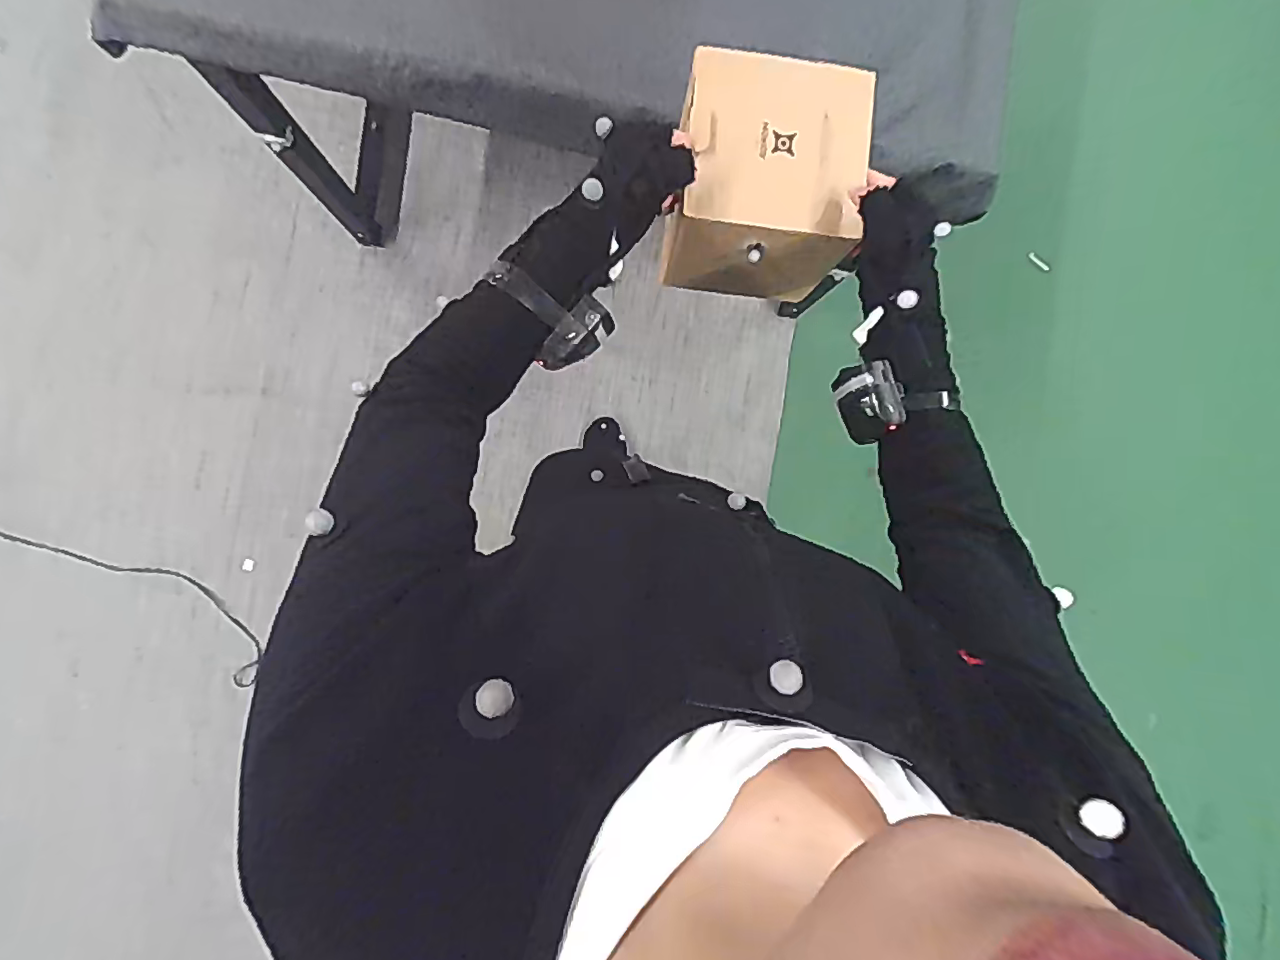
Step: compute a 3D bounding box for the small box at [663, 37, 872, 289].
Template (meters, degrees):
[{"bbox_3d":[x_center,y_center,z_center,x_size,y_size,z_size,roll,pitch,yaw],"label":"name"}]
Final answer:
[{"bbox_3d":[0.124,-0.323,0.587,0.179,0.176,0.168,5,88,-5],"label":"small box"}]
